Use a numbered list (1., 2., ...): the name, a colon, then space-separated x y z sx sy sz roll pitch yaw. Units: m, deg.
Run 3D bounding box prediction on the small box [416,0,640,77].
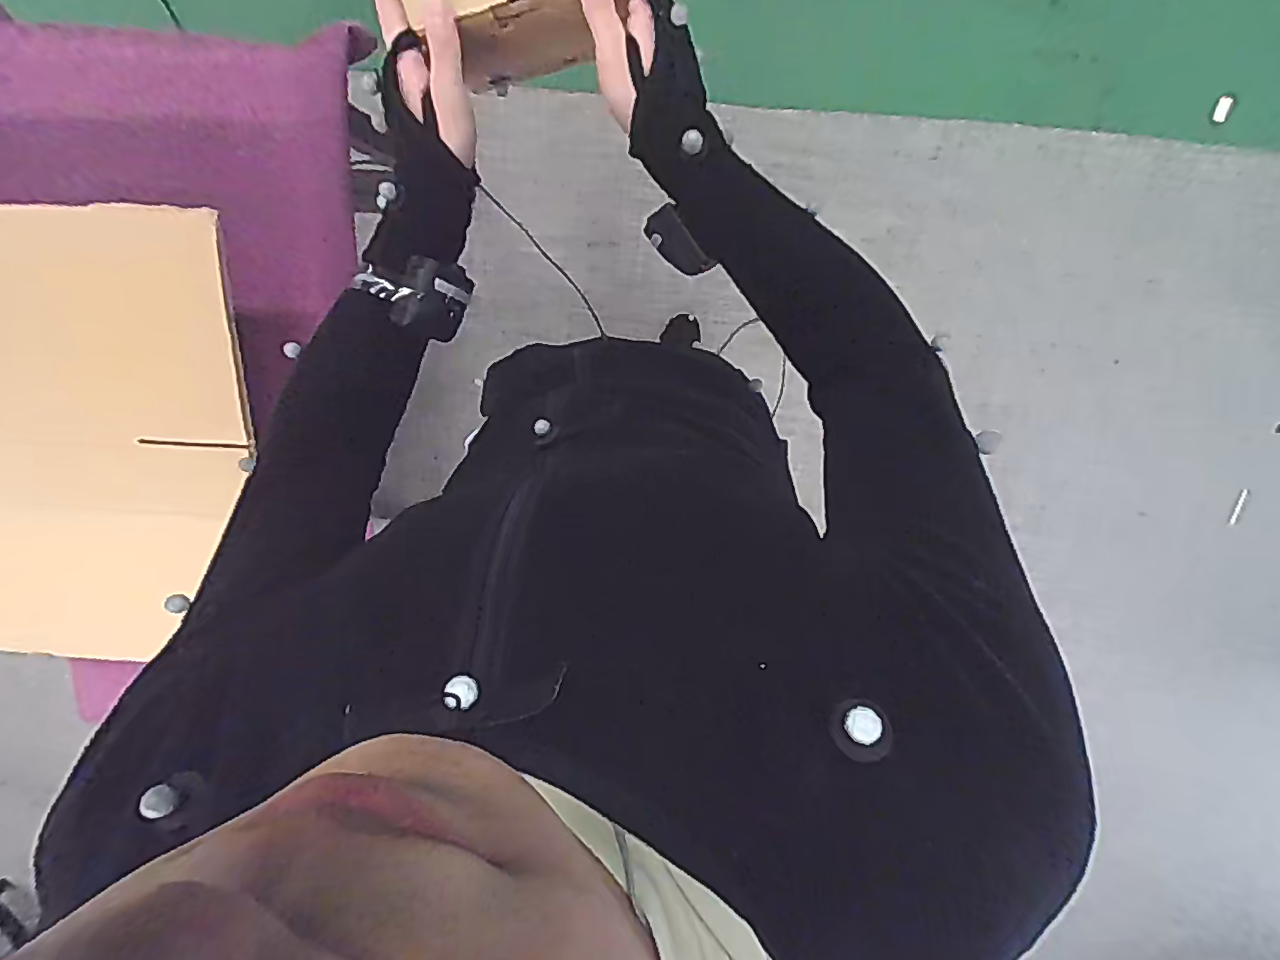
1. small box: -0.095 -0.449 0.423 0.168 0.176 0.179 -12 112 5
